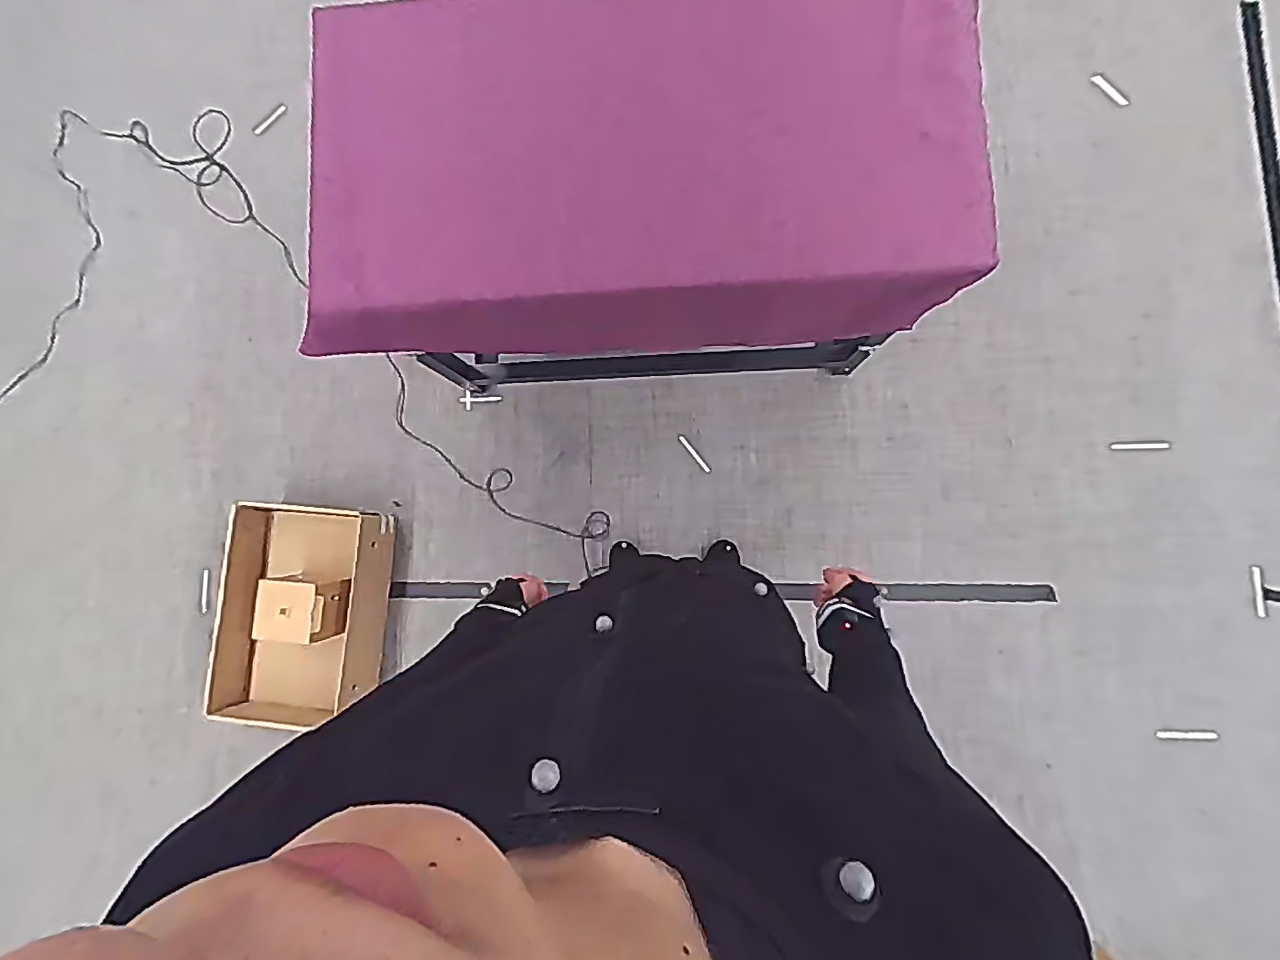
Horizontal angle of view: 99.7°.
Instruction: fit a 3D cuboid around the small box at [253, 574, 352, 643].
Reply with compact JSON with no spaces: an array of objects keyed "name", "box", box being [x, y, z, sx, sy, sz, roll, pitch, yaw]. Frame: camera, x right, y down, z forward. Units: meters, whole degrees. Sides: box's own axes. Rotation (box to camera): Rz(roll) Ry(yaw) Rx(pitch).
[{"name":"small box","box":[-0.972,0.366,1.573,0.179,0.176,0.168,4,85,5]}]
